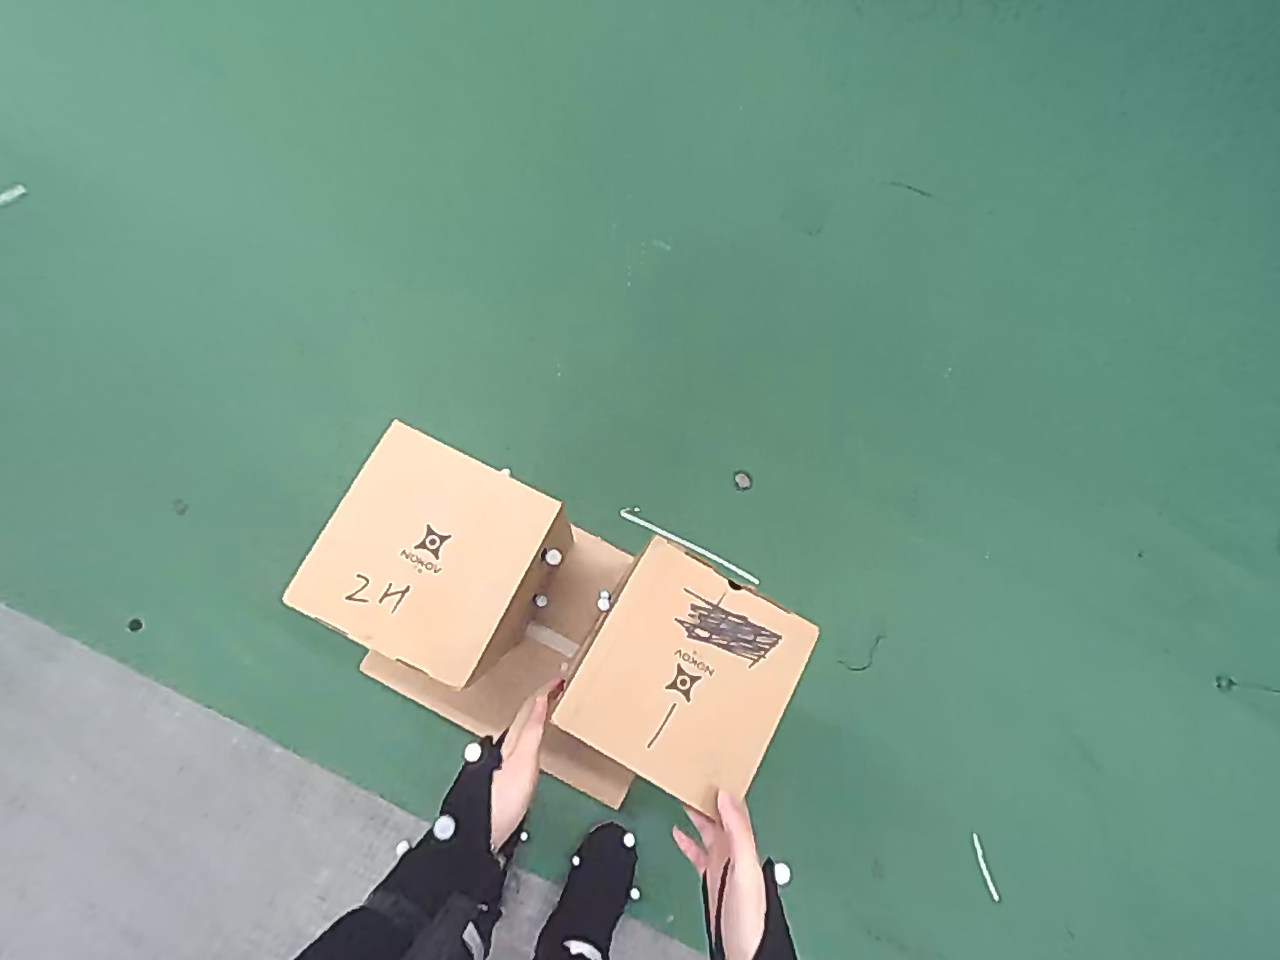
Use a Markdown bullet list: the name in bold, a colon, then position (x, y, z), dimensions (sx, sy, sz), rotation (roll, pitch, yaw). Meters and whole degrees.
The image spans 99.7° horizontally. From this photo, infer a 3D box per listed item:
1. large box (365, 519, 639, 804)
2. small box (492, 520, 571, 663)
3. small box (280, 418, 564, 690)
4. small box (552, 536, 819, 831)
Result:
- **large box**: position (-0.147, 0.250, 0.906), dimensions (0.408, 0.320, 0.320), rotation (27, 77, 1)
- **small box**: position (-0.200, 0.105, 0.685), dimensions (0.168, 0.176, 0.179), rotation (28, 77, 1)
- **small box**: position (-0.185, 0.073, 0.523), dimensions (0.168, 0.176, 0.179), rotation (27, 76, 1)
- **small box**: position (0.035, 0.176, 0.516), dimensions (0.168, 0.176, 0.179), rotation (29, 77, 4)
